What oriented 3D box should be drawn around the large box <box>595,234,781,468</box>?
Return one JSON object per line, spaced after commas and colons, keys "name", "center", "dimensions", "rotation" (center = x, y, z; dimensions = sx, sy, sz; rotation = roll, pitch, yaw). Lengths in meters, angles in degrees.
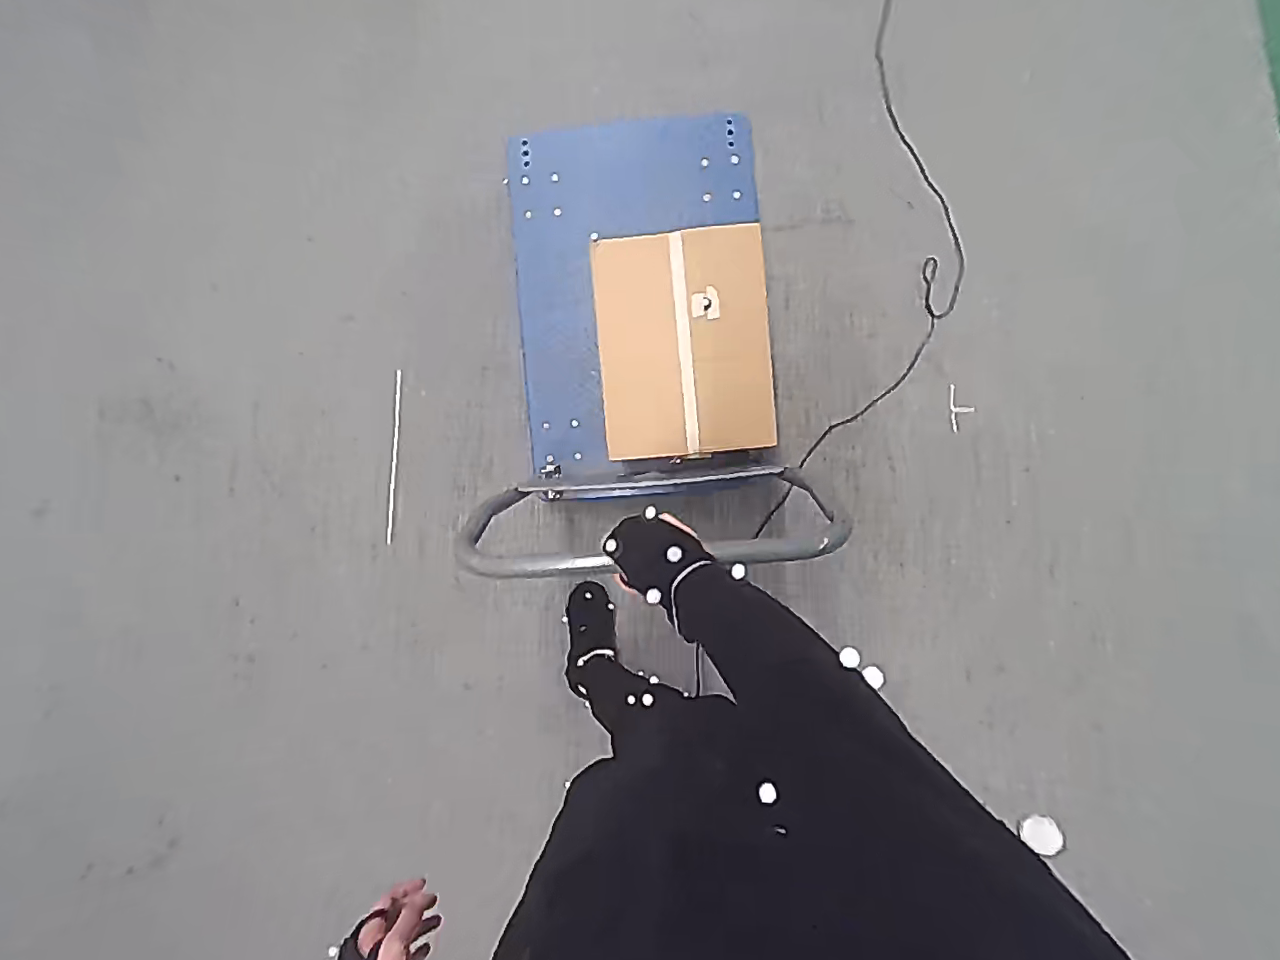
{"name": "large box", "center": [0.095, -0.241, 1.145], "dimensions": [0.320, 0.320, 0.408], "rotation": [-5, 91, 2]}
